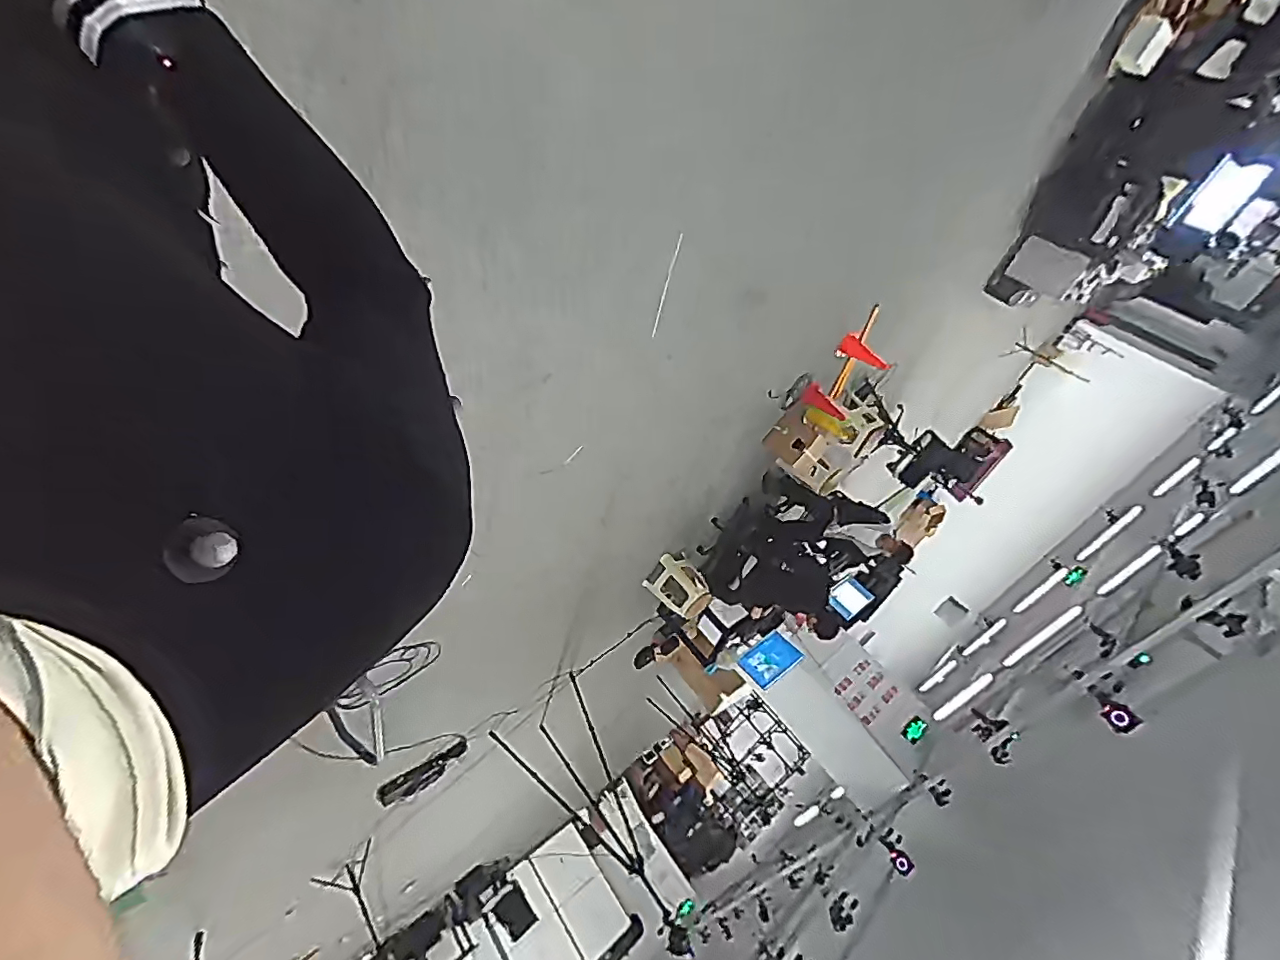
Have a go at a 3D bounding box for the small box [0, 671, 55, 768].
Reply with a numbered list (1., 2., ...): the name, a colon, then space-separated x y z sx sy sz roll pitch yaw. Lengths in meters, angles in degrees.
1. small box: -1.689 0.638 1.417 0.168 0.176 0.179 -22 144 -39

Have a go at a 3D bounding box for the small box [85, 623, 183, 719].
1. small box: -1.484 0.556 1.590 0.168 0.176 0.179 -20 142 -39
